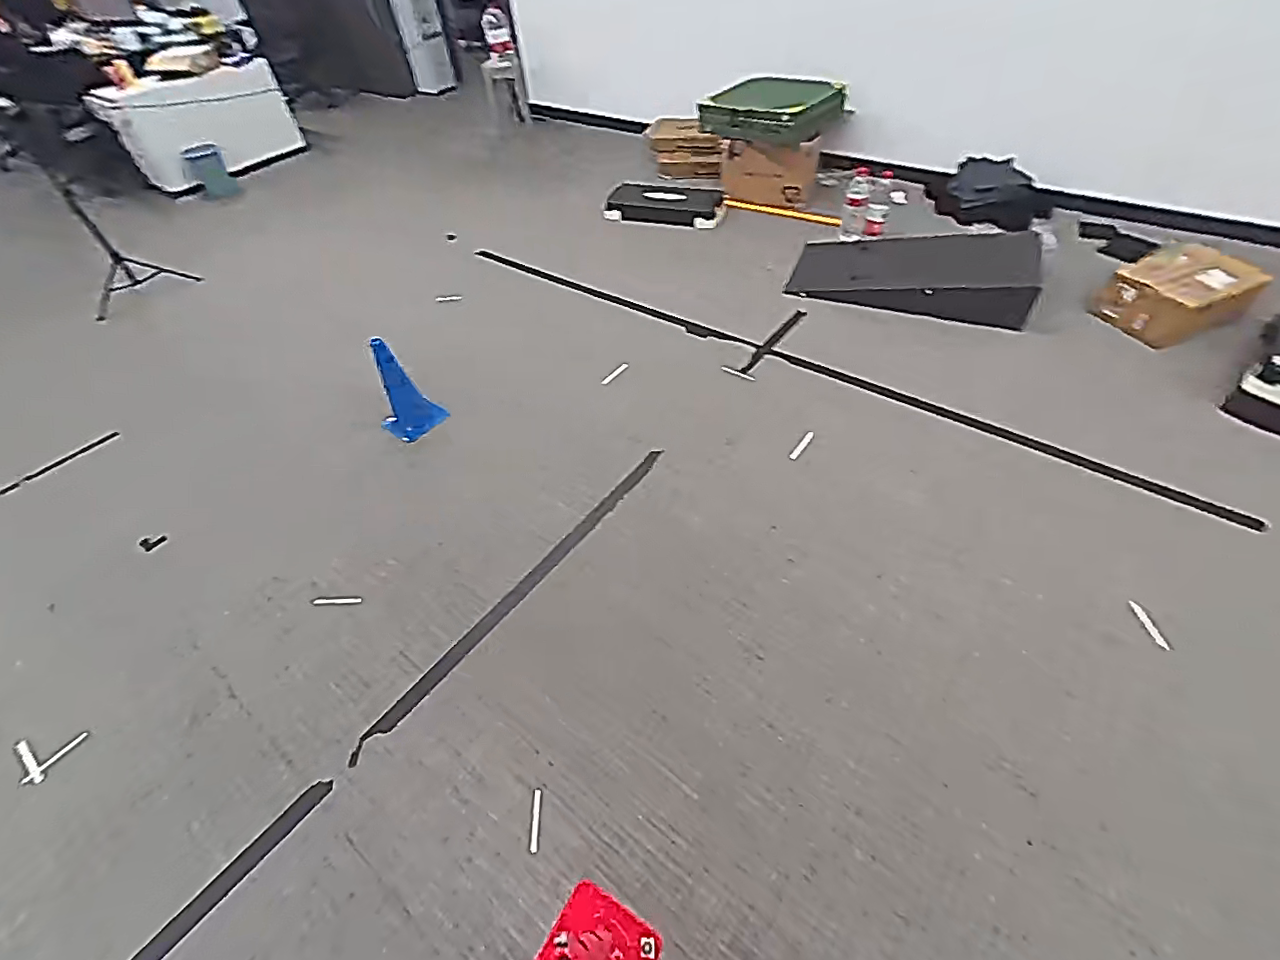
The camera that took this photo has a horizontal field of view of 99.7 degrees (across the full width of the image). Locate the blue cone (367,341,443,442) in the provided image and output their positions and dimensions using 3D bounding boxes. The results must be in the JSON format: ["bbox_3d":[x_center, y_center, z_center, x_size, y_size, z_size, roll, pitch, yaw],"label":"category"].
[{"bbox_3d":[-0.892,-0.334,1.970,0.192,0.380,0.193,28,56,28],"label":"blue cone"}]

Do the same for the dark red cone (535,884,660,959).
[{"bbox_3d":[-0.103,0.782,0.861,0.201,0.394,0.202,20,53,23],"label":"dark red cone"}]
